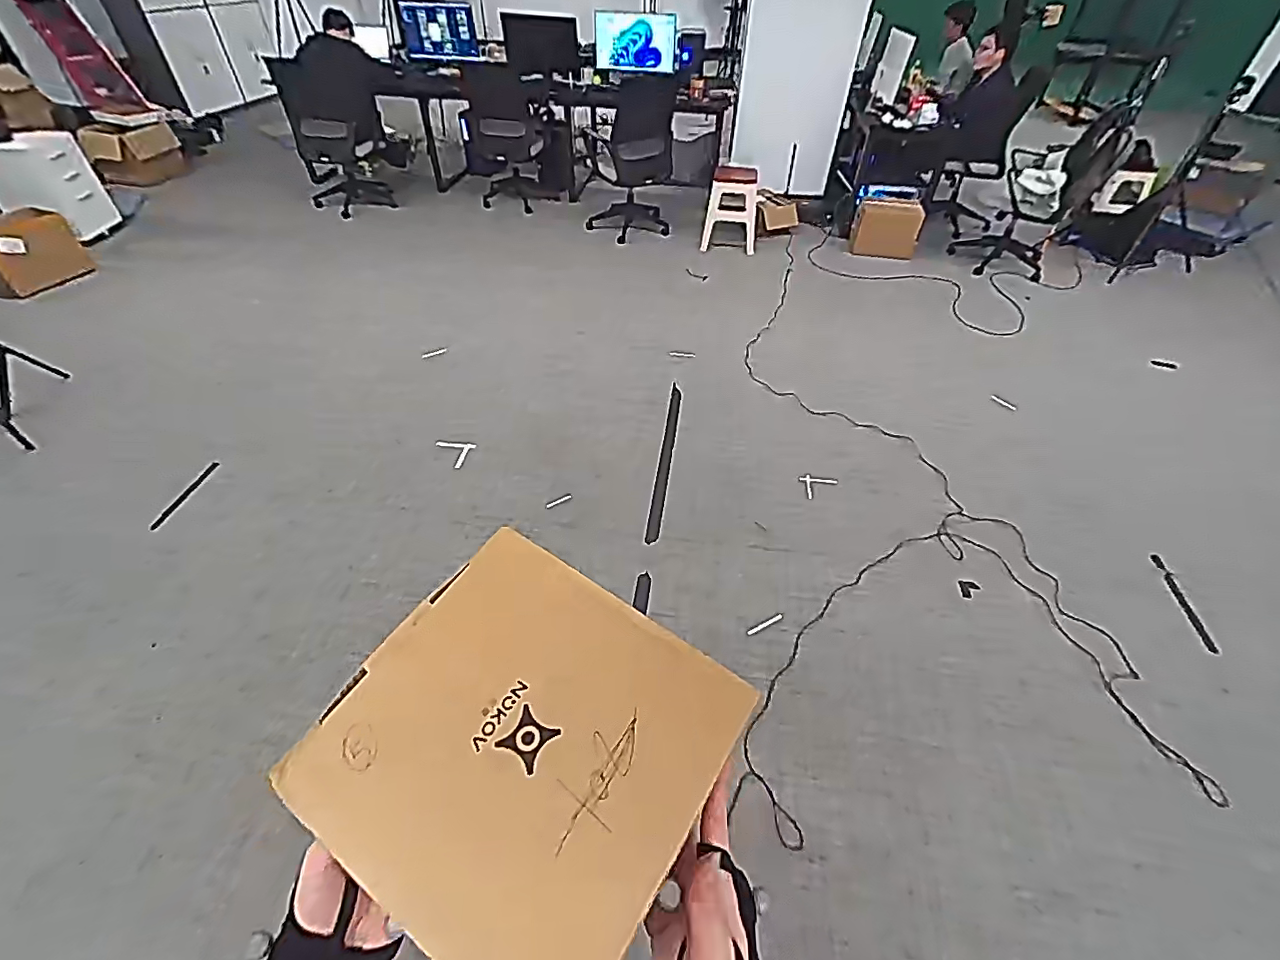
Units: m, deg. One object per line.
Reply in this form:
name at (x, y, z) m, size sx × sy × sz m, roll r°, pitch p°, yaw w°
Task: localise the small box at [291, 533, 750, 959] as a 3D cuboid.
small box at (-0.058, 0.171, 0.340) m, size 0.179 × 0.176 × 0.168 m, roll 30°, pitch 61°, yaw 17°
